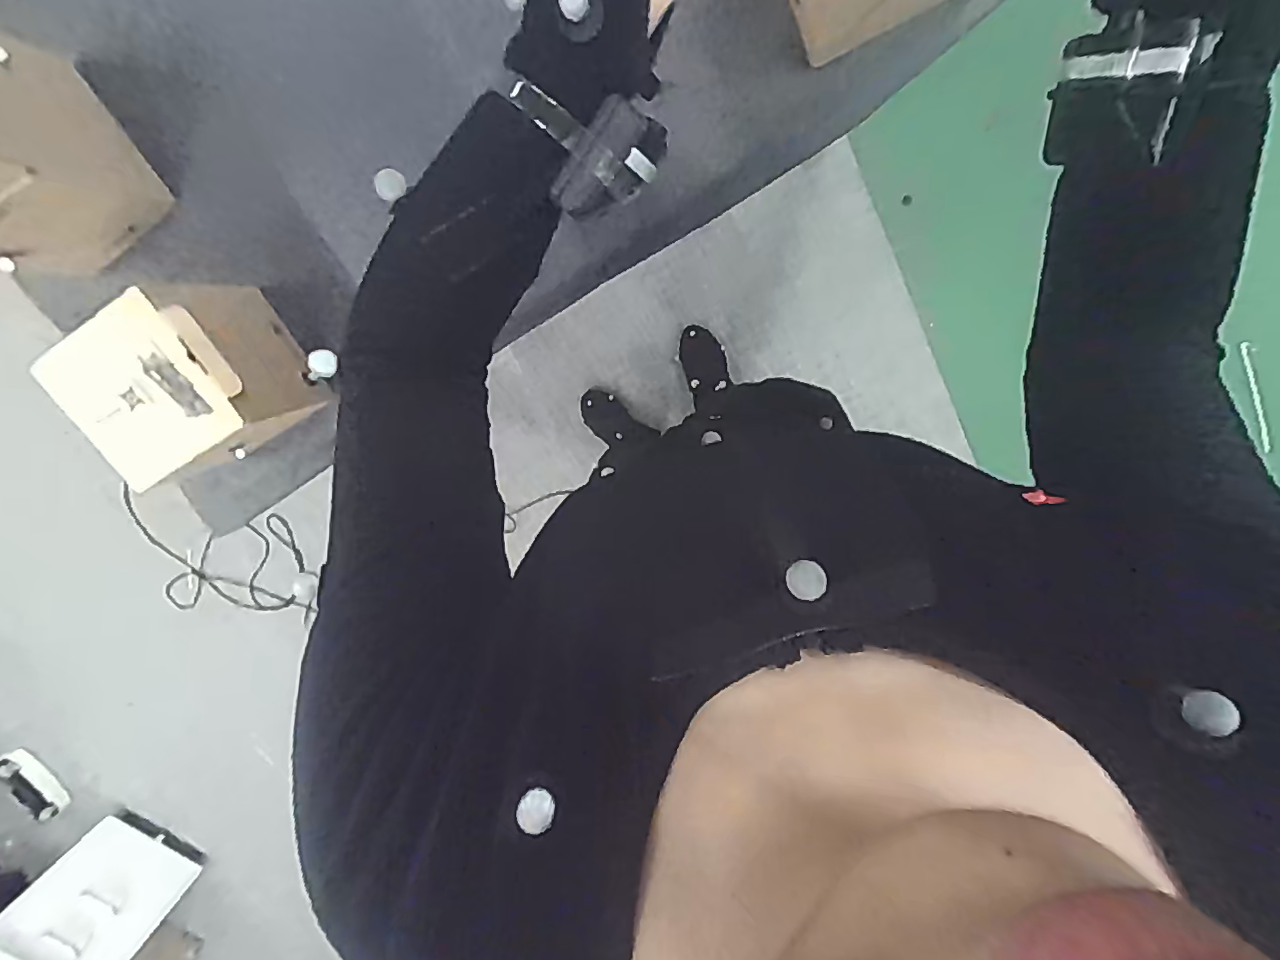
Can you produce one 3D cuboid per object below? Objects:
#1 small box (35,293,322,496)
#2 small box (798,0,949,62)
[{"bbox_3d":[-0.528,-0.112,0.655,0.179,0.176,0.168,-27,105,12],"label":"small box"},{"bbox_3d":[0.224,-0.520,0.469,0.179,0.176,0.168,-22,101,11],"label":"small box"}]
